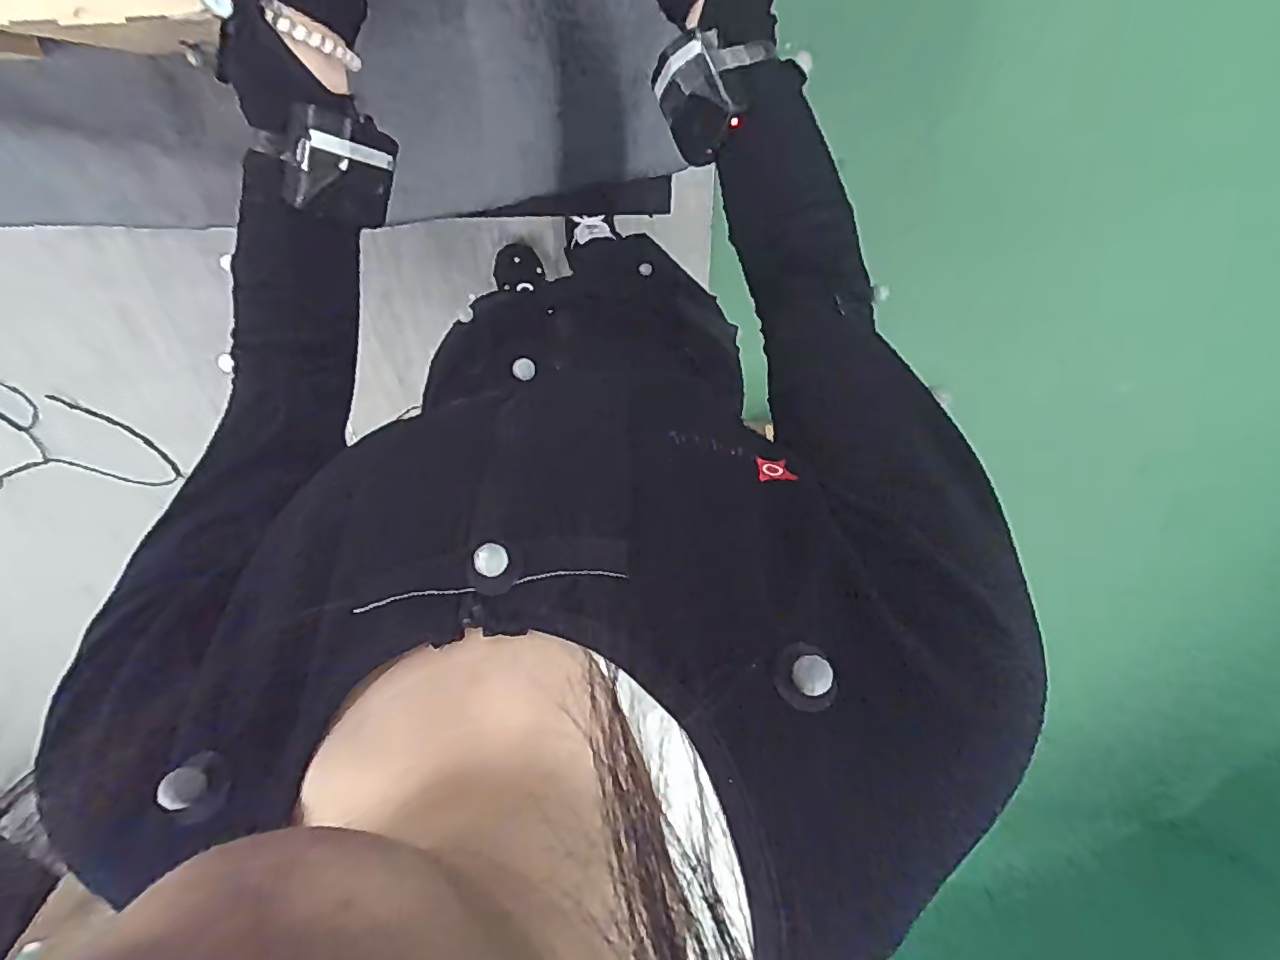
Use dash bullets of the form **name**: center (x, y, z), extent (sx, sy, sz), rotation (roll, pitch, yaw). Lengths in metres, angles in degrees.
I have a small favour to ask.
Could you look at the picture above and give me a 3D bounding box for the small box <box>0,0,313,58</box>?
- **small box**: center (-0.373, -0.419, 0.382), extent (0.168, 0.176, 0.179), rotation (-4, 124, -2)
